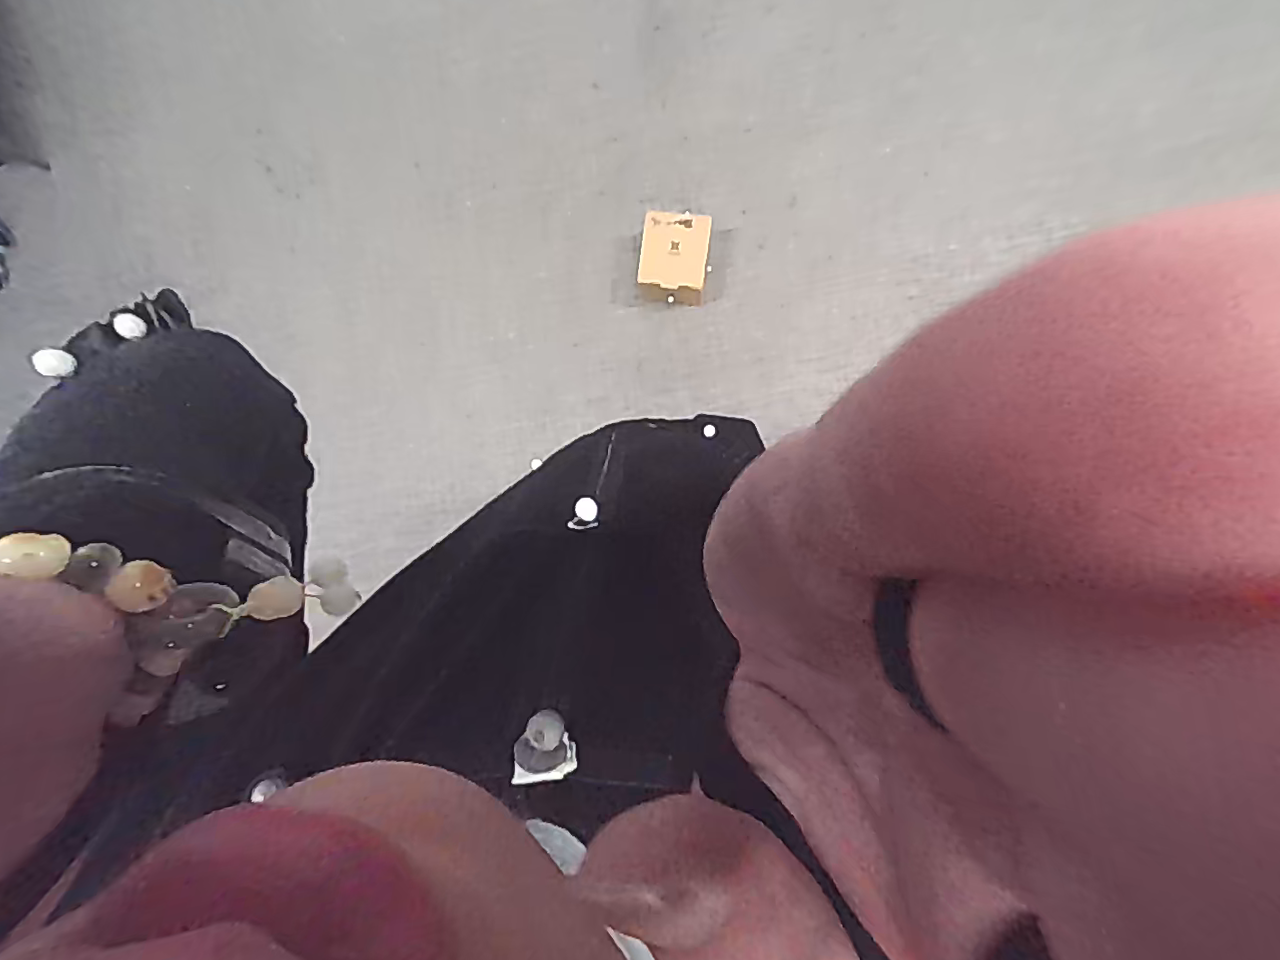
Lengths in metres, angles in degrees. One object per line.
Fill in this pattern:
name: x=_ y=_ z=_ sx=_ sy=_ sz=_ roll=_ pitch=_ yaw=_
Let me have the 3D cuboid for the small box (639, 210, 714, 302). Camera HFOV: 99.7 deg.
small box: x=0.100 y=-0.569 z=1.394 sx=0.168 sy=0.176 sz=0.179 roll=8 pitch=96 yaw=7

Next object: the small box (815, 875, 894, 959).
small box: x=0.580 y=1.219 z=1.473 sx=0.168 sy=0.176 sz=0.179 roll=-6 pitch=94 yaw=8
